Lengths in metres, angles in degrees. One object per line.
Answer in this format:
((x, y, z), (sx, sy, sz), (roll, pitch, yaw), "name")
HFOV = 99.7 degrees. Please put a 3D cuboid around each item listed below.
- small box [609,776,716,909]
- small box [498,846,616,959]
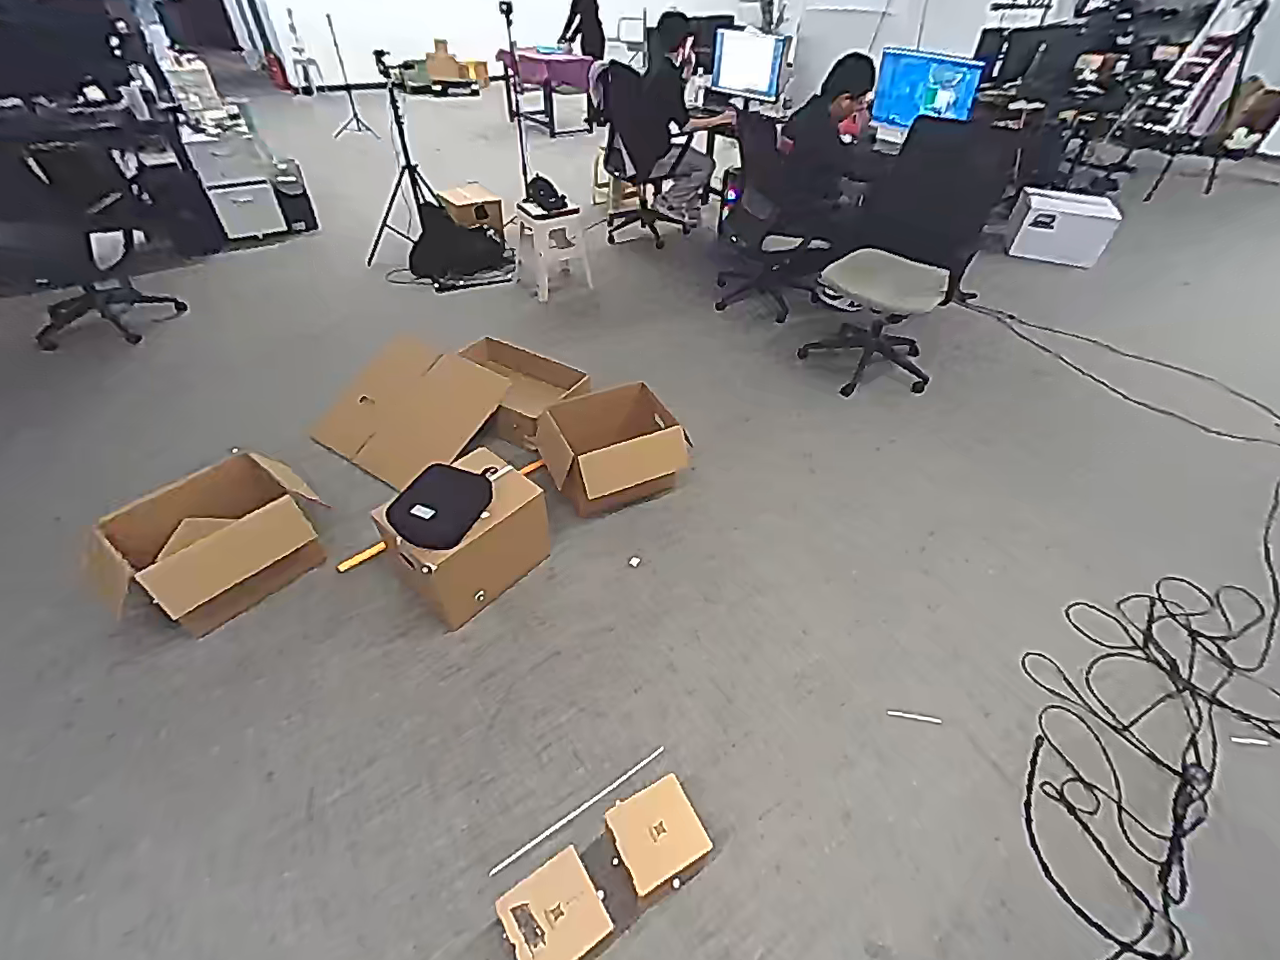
((0.043, 0.792, 1.182), (0.179, 0.176, 0.168), (-21, 48, -20), "small box")
((-0.159, 0.885, 1.078), (0.179, 0.176, 0.168), (-24, 49, -25), "small box")
